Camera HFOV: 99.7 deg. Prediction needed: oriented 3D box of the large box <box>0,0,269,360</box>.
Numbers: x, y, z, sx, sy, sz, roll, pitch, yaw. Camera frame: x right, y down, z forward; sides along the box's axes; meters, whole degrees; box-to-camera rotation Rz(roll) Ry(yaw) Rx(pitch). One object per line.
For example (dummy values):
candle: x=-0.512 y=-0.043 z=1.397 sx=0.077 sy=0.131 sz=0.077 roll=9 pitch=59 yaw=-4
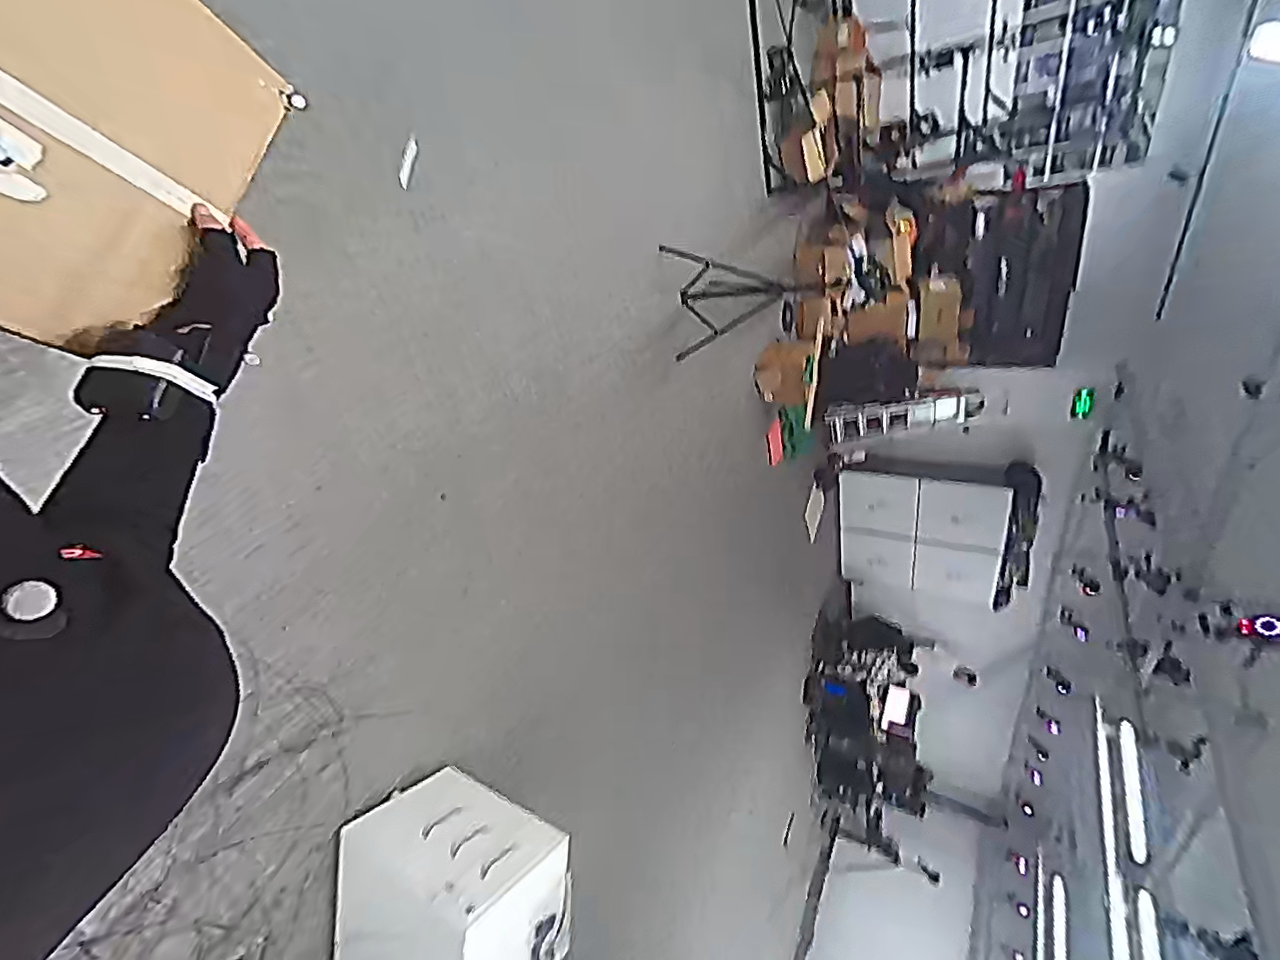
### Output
large box: x=-0.615 y=-0.332 z=0.400 sx=0.408 sy=0.320 sz=0.320 roll=32 pitch=76 yaw=-62
